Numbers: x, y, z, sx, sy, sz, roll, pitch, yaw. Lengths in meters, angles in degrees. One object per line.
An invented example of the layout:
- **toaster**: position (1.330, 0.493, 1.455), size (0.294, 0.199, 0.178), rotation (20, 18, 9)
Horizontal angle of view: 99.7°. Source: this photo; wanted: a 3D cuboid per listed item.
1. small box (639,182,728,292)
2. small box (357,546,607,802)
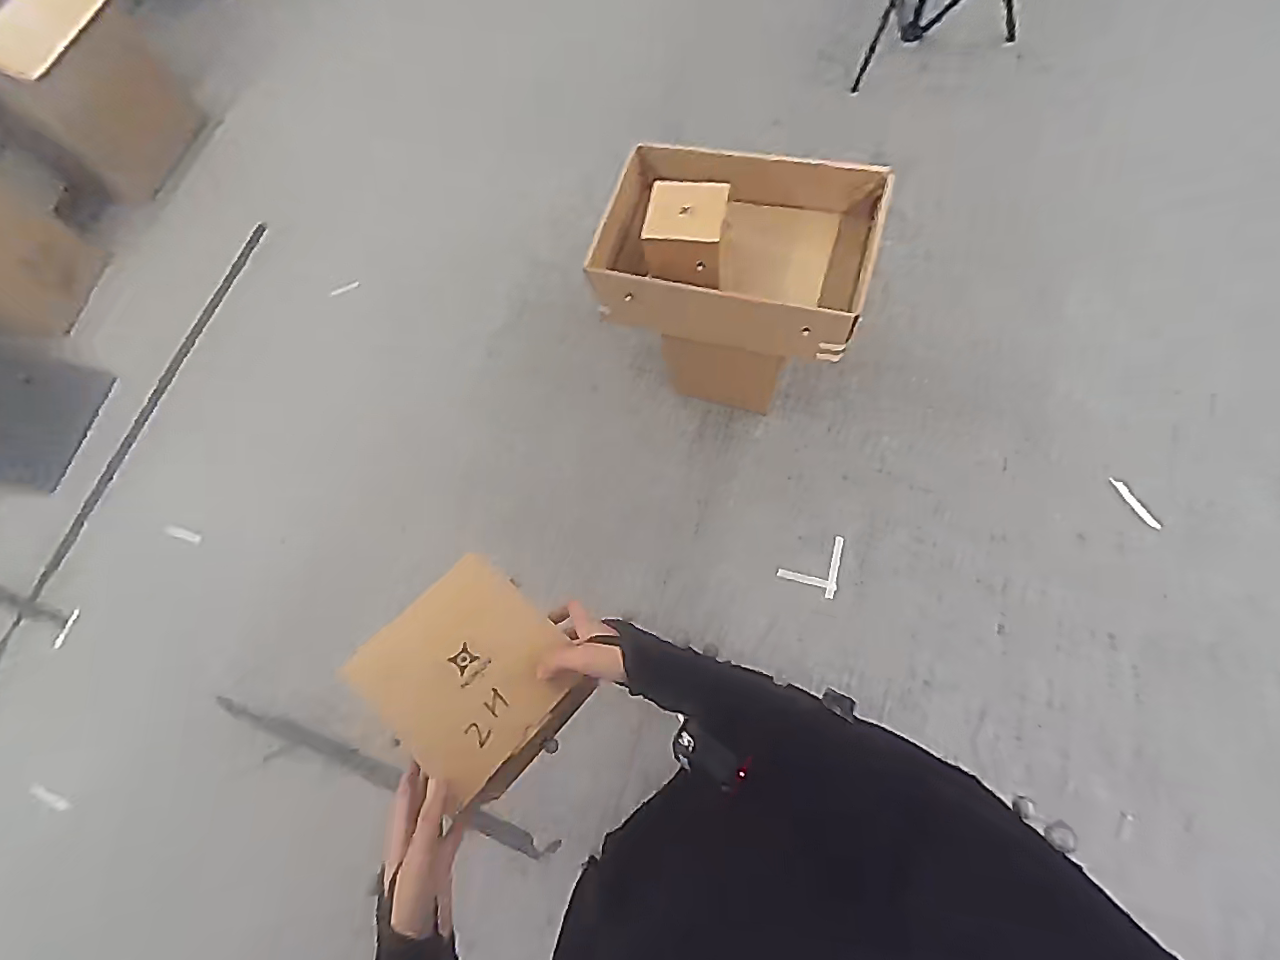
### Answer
- **small box**: position (0.109, -0.565, 1.271), size (0.179, 0.176, 0.168), rotation (8, 72, 11)
- **small box**: position (-0.153, 0.207, 0.578), size (0.179, 0.176, 0.168), rotation (40, 68, 15)
